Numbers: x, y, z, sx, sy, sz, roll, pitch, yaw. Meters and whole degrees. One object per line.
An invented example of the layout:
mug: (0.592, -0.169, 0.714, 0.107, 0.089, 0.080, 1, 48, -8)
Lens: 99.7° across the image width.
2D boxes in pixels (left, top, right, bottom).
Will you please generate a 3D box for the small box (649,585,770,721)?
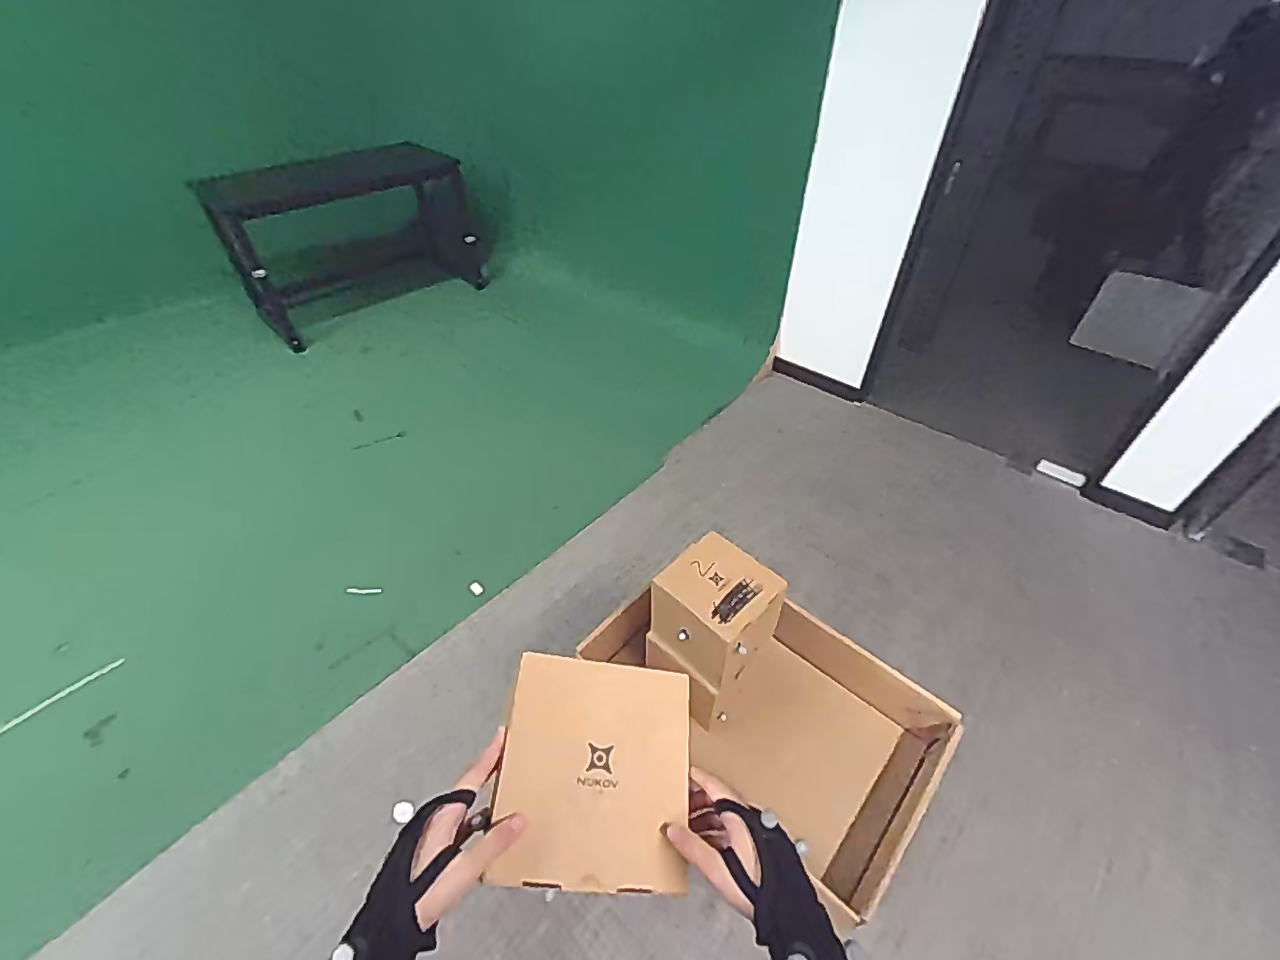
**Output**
small box: (0.136, 0.356, 1.096, 0.179, 0.176, 0.168, 33, 53, 31)
